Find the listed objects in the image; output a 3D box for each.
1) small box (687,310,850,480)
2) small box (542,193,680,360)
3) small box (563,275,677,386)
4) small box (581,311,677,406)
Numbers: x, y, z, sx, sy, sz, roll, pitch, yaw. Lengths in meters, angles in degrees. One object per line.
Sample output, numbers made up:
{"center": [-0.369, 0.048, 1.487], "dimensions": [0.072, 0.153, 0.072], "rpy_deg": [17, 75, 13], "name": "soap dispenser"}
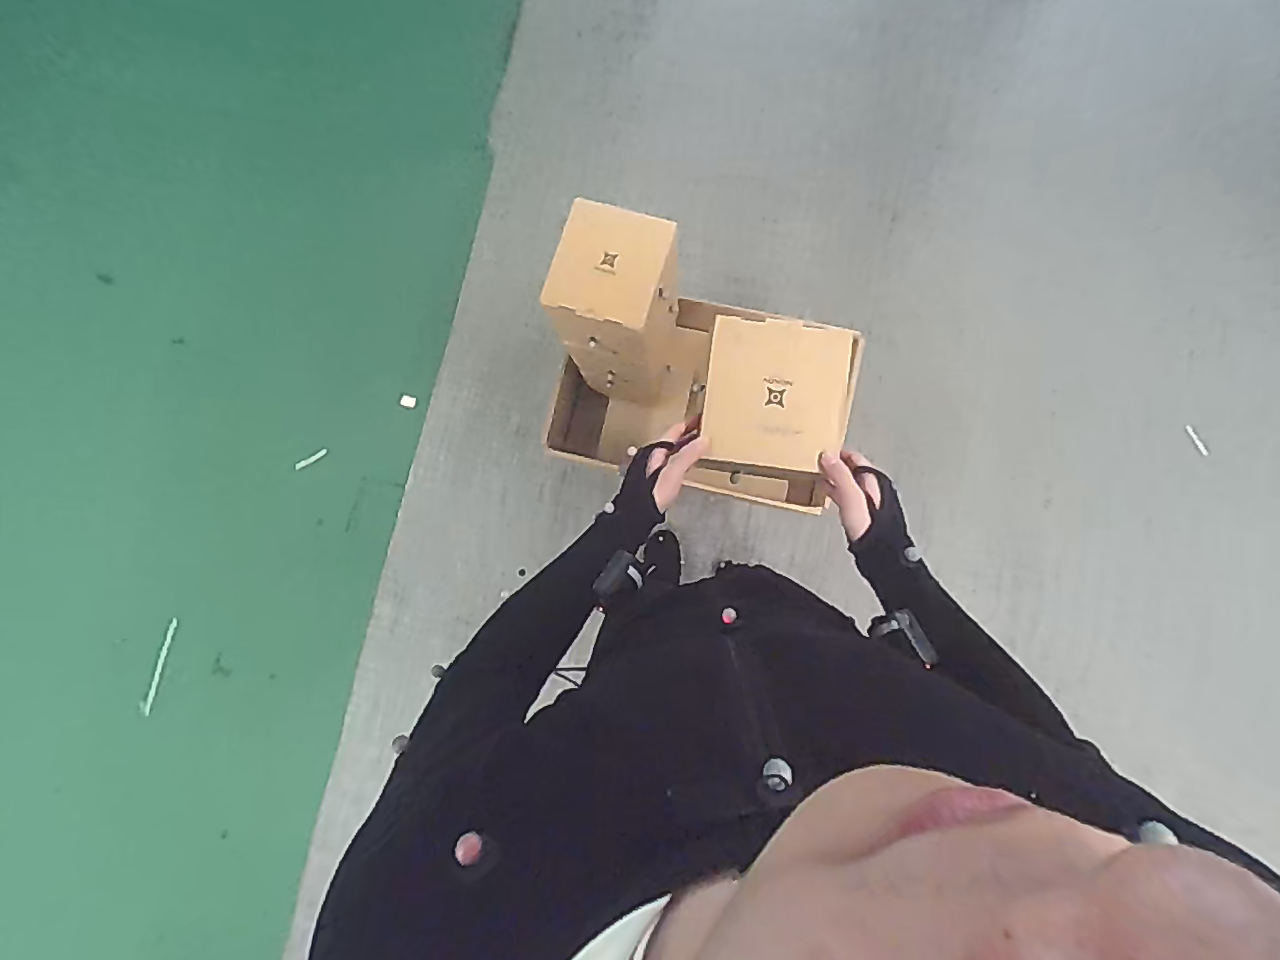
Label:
{"center": [0.157, -0.100, 0.711], "dimensions": [0.168, 0.176, 0.179], "rpy_deg": [8, 87, 1], "name": "small box"}
{"center": [-0.039, -0.321, 0.884], "dimensions": [0.168, 0.176, 0.179], "rpy_deg": [18, 86, 6], "name": "small box"}
{"center": [-0.031, -0.303, 1.046], "dimensions": [0.168, 0.176, 0.179], "rpy_deg": [17, 85, 7], "name": "small box"}
{"center": [-0.020, -0.285, 1.208], "dimensions": [0.168, 0.176, 0.179], "rpy_deg": [15, 85, 6], "name": "small box"}
